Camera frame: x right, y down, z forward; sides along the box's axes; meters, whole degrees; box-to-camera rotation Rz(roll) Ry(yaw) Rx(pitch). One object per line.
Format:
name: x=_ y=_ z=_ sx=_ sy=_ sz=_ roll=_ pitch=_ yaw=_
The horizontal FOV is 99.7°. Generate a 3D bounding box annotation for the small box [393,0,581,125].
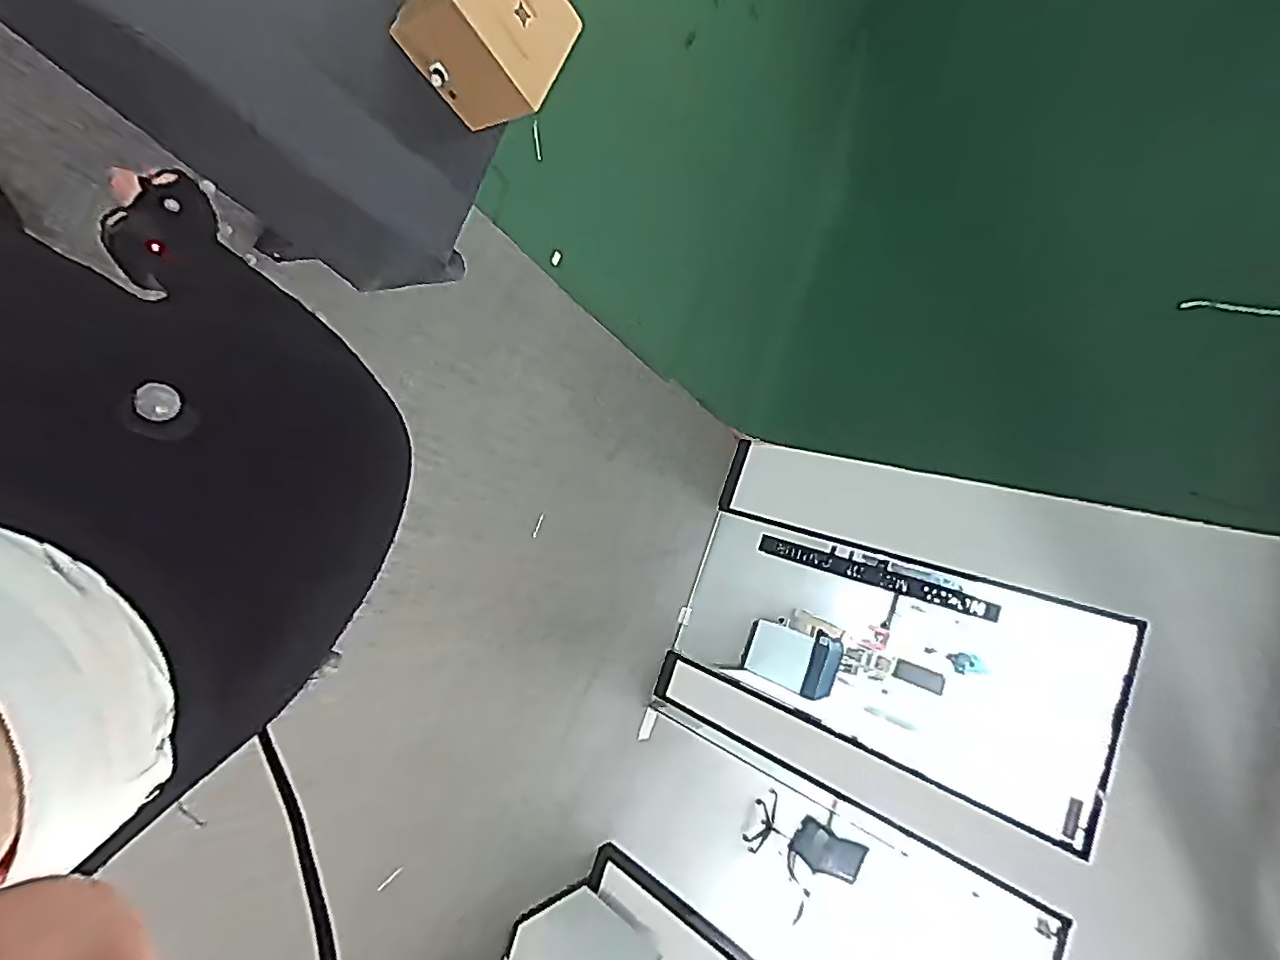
small box: x=-0.223 y=-0.665 z=0.790 sx=0.168 sy=0.176 sz=0.179 roll=39 pitch=72 yaw=-50
